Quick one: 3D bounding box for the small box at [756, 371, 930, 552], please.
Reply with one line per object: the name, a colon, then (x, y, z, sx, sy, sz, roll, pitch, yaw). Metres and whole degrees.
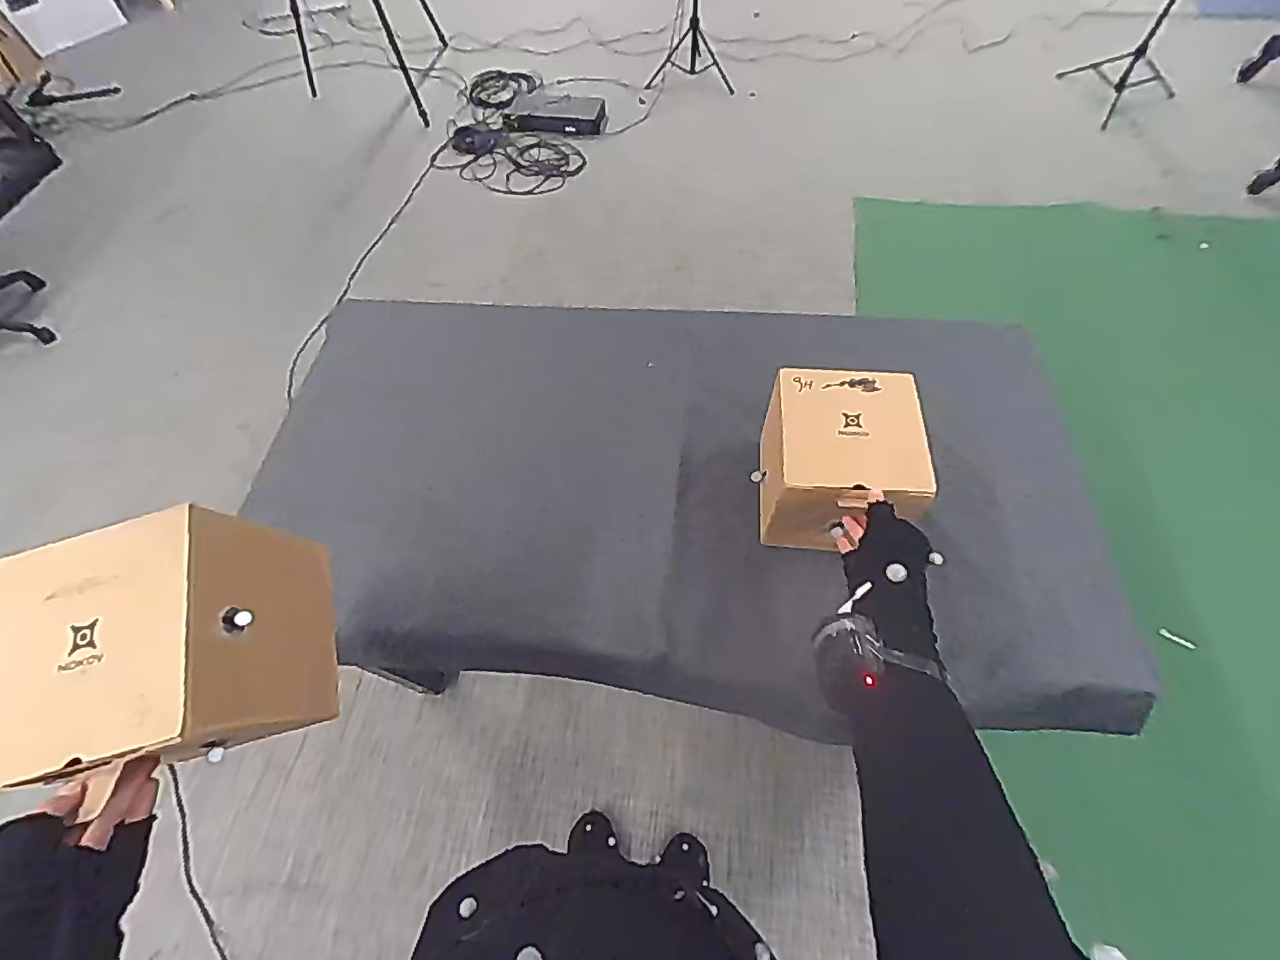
small box: (0.248, -0.018, 0.705, 0.168, 0.176, 0.179, 5, 61, 4)

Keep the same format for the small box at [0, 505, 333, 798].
small box: (-0.393, 0.143, 0.466, 0.168, 0.176, 0.179, -17, 69, 1)
